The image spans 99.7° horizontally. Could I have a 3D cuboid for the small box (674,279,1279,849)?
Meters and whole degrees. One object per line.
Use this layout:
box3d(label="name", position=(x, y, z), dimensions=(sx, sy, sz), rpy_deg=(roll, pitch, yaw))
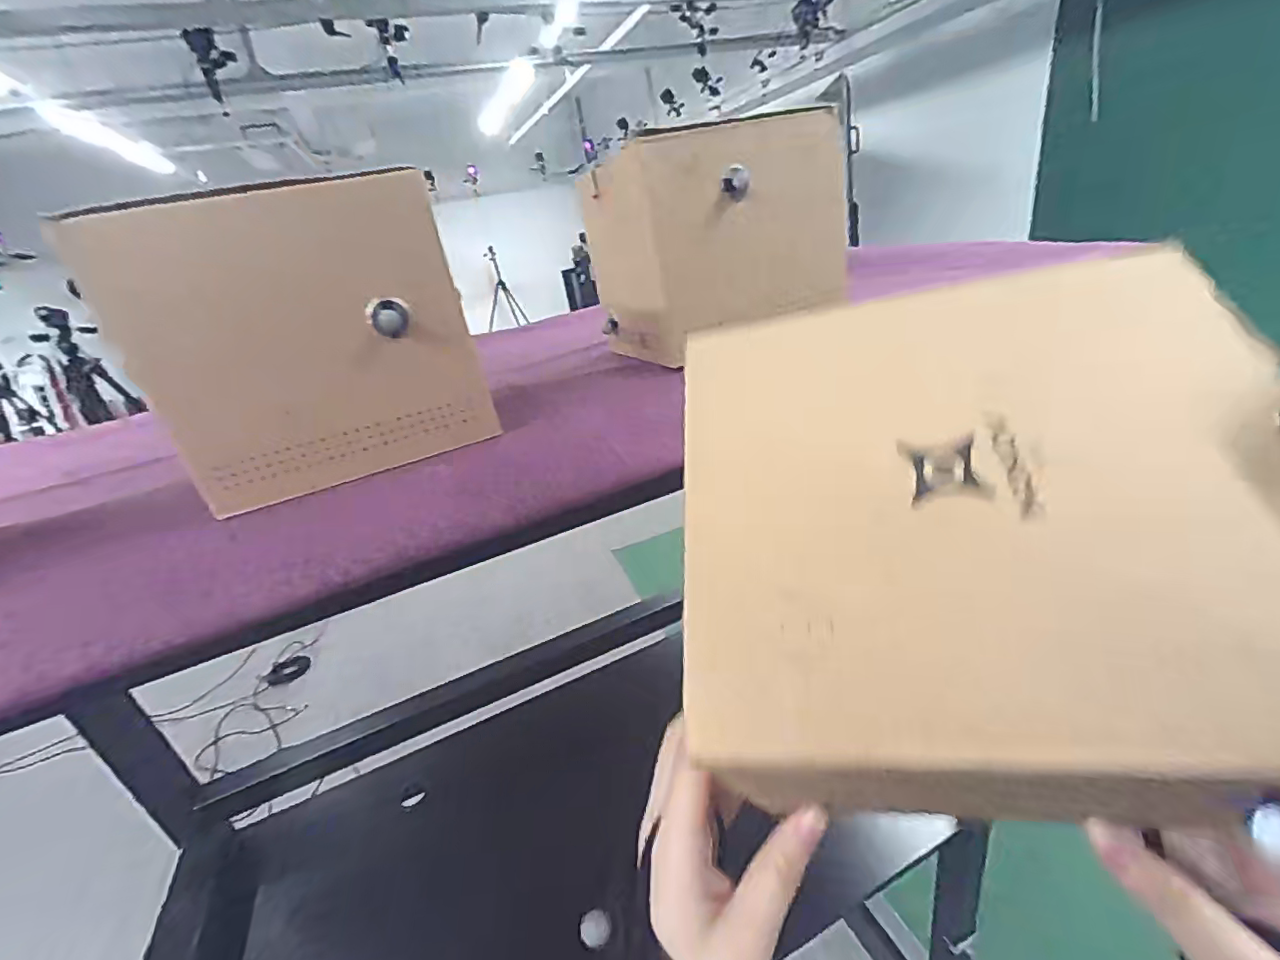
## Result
box3d(label="small box", position=(0.121, 0.052, 0.230), dimensions=(0.179, 0.176, 0.168), rpy_deg=(-8, 55, 16))

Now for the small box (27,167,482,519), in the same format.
box3d(label="small box", position=(-0.222, -0.098, 0.374), dimensions=(0.179, 0.176, 0.168), rpy_deg=(-22, 27, -19))

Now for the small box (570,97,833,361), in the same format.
box3d(label="small box", position=(0.056, -0.214, 0.492), dimensions=(0.179, 0.176, 0.168), rpy_deg=(-19, 24, -16))
